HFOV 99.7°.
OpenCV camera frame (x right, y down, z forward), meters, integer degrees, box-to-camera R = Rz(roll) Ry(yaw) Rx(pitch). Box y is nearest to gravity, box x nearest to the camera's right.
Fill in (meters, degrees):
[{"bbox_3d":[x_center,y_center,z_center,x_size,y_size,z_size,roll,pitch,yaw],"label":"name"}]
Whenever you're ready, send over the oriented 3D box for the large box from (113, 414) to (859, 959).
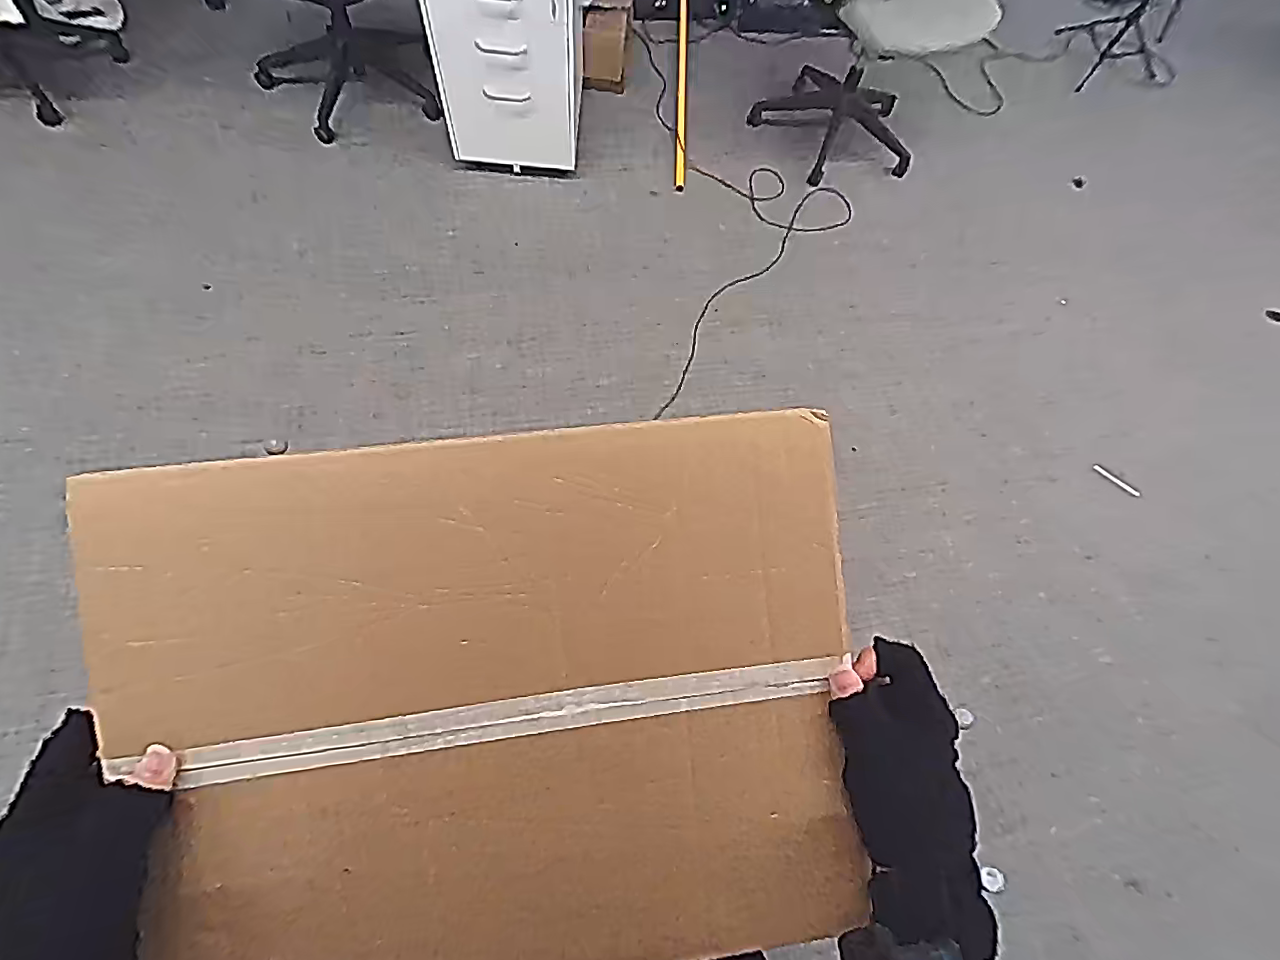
[{"bbox_3d":[-0.090,0.133,0.461,0.408,0.320,0.320,-6,92,-5],"label":"large box"}]
